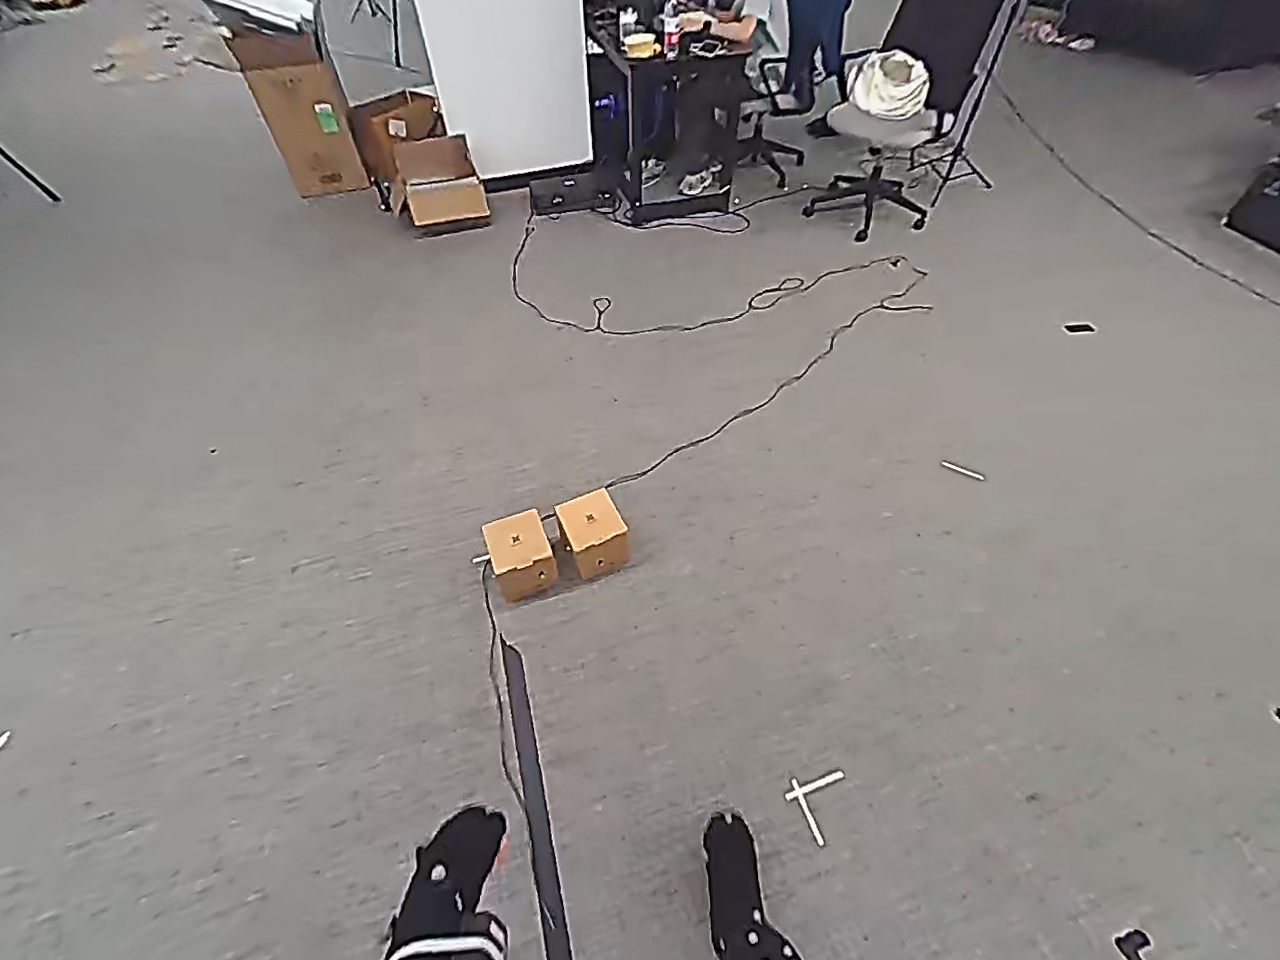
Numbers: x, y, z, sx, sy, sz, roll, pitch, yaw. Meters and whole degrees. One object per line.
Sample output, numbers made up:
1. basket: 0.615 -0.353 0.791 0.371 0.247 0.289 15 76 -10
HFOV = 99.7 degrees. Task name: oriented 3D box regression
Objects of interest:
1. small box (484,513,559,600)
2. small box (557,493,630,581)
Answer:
1. small box: -0.345 0.234 1.592 0.168 0.176 0.179 -18 53 -13
2. small box: -0.140 0.174 1.635 0.168 0.176 0.179 -22 55 -15
